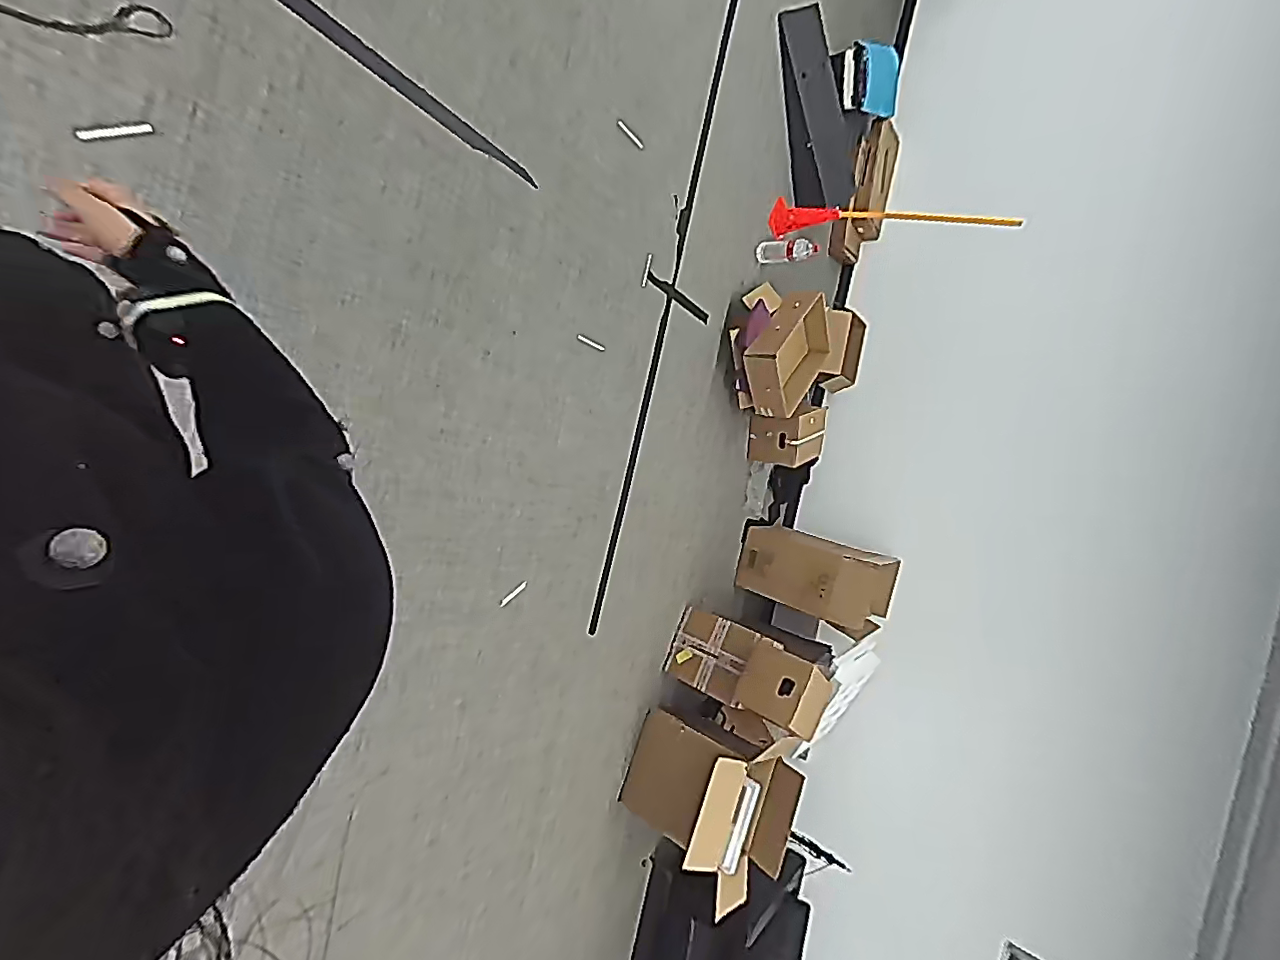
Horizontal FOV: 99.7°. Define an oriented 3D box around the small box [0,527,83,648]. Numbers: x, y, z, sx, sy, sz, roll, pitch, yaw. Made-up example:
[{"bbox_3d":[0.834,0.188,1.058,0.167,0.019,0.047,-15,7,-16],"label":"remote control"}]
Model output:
[{"bbox_3d":[-1.129,0.186,0.966,0.168,0.176,0.179,-3,103,-53],"label":"small box"}]
